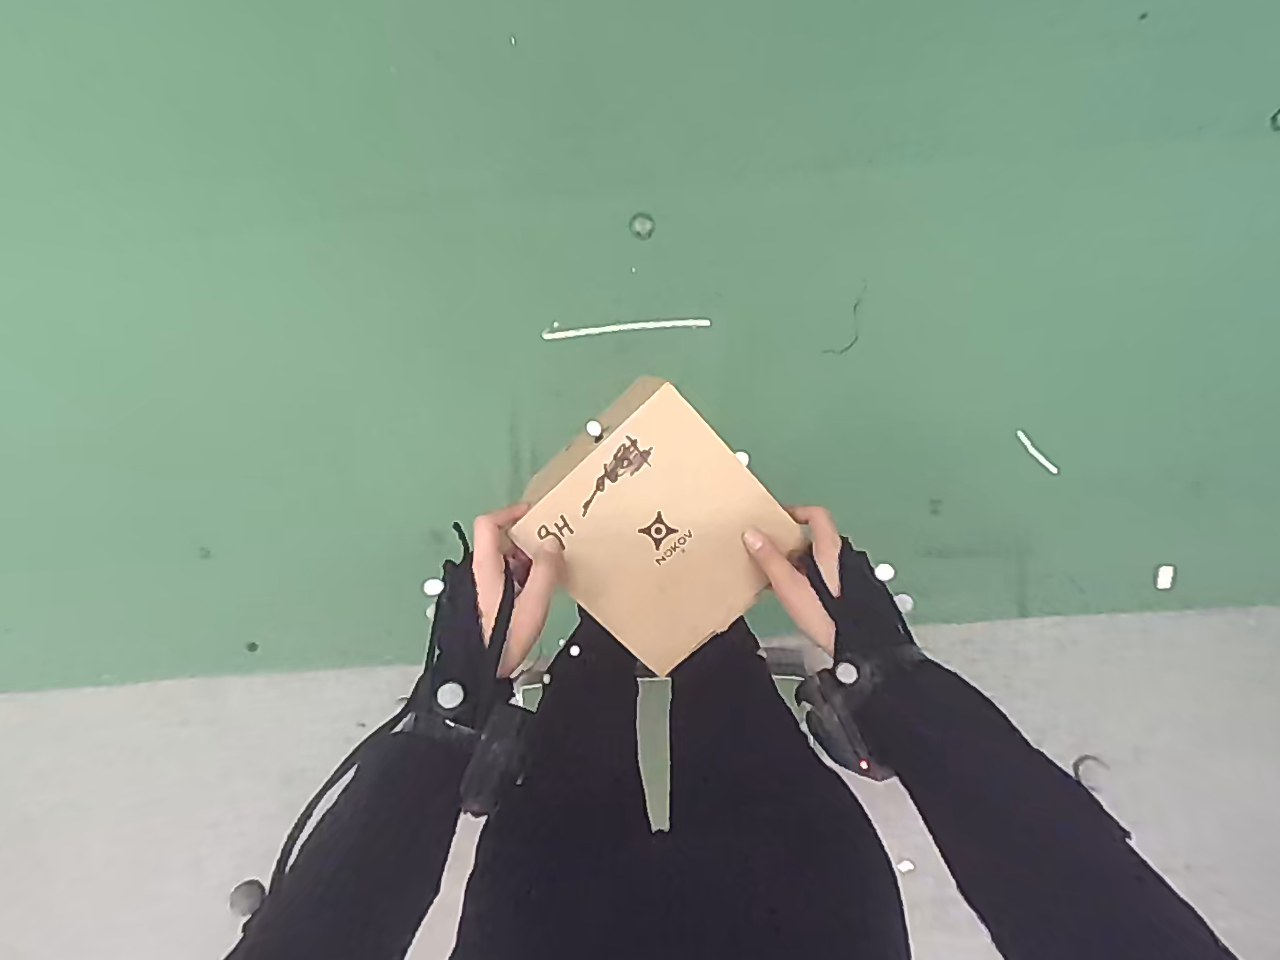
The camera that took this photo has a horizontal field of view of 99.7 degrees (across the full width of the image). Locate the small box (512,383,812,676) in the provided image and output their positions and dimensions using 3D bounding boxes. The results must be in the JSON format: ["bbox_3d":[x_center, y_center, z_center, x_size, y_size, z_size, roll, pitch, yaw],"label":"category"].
[{"bbox_3d":[0.013,0.027,0.486,0.168,0.176,0.179,-42,103,3],"label":"small box"}]
